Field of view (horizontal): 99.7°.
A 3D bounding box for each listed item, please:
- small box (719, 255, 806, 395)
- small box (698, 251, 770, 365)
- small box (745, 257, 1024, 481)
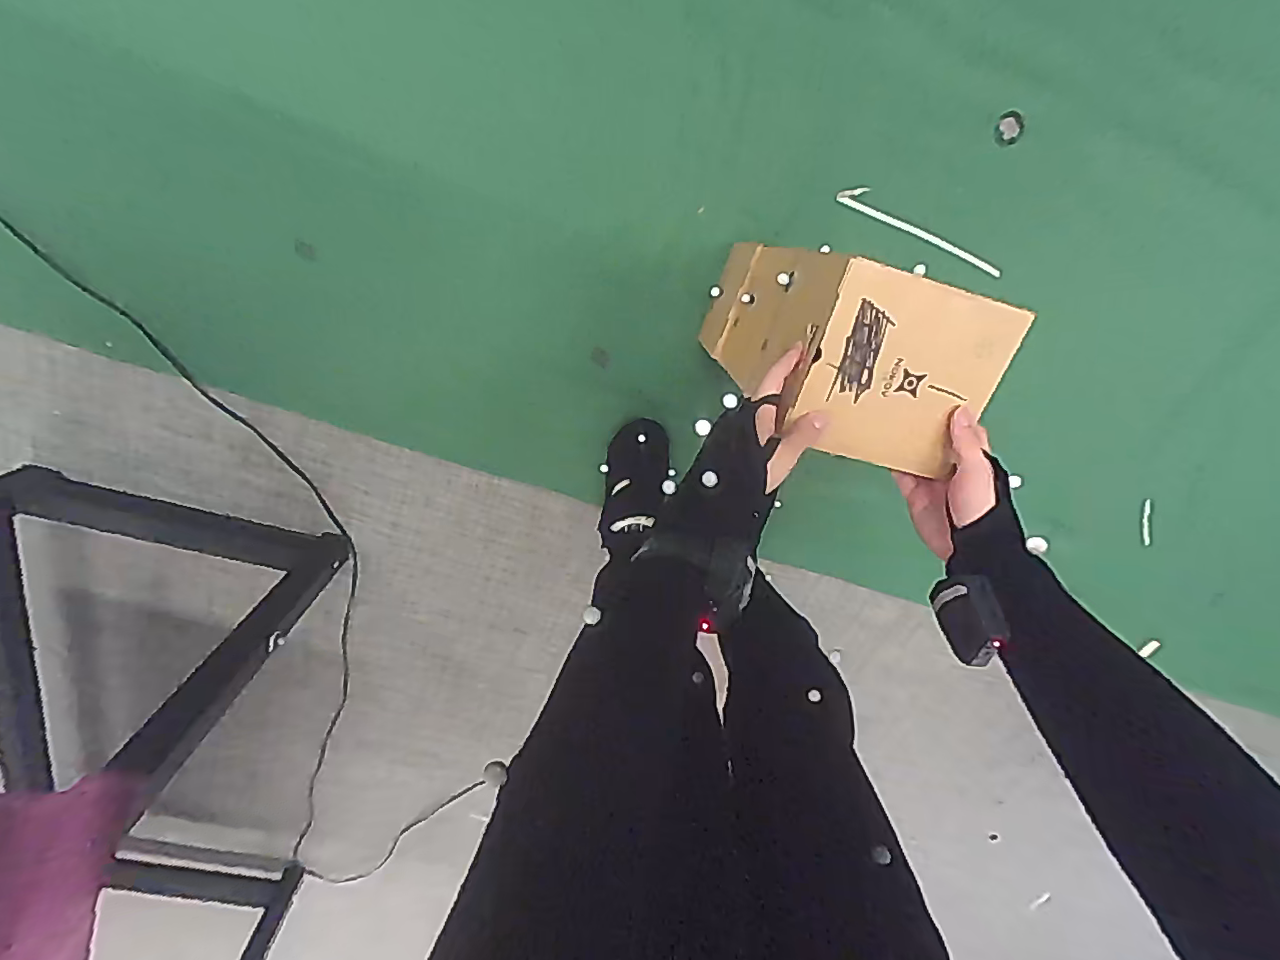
[{"bbox_3d":[0.221,-0.188,0.708,0.179,0.176,0.168,15,113,-8],"label":"small box"},{"bbox_3d":[0.208,-0.254,0.856,0.179,0.176,0.168,18,112,-10],"label":"small box"},{"bbox_3d":[0.225,-0.122,0.557,0.179,0.176,0.168,13,114,-9],"label":"small box"}]
